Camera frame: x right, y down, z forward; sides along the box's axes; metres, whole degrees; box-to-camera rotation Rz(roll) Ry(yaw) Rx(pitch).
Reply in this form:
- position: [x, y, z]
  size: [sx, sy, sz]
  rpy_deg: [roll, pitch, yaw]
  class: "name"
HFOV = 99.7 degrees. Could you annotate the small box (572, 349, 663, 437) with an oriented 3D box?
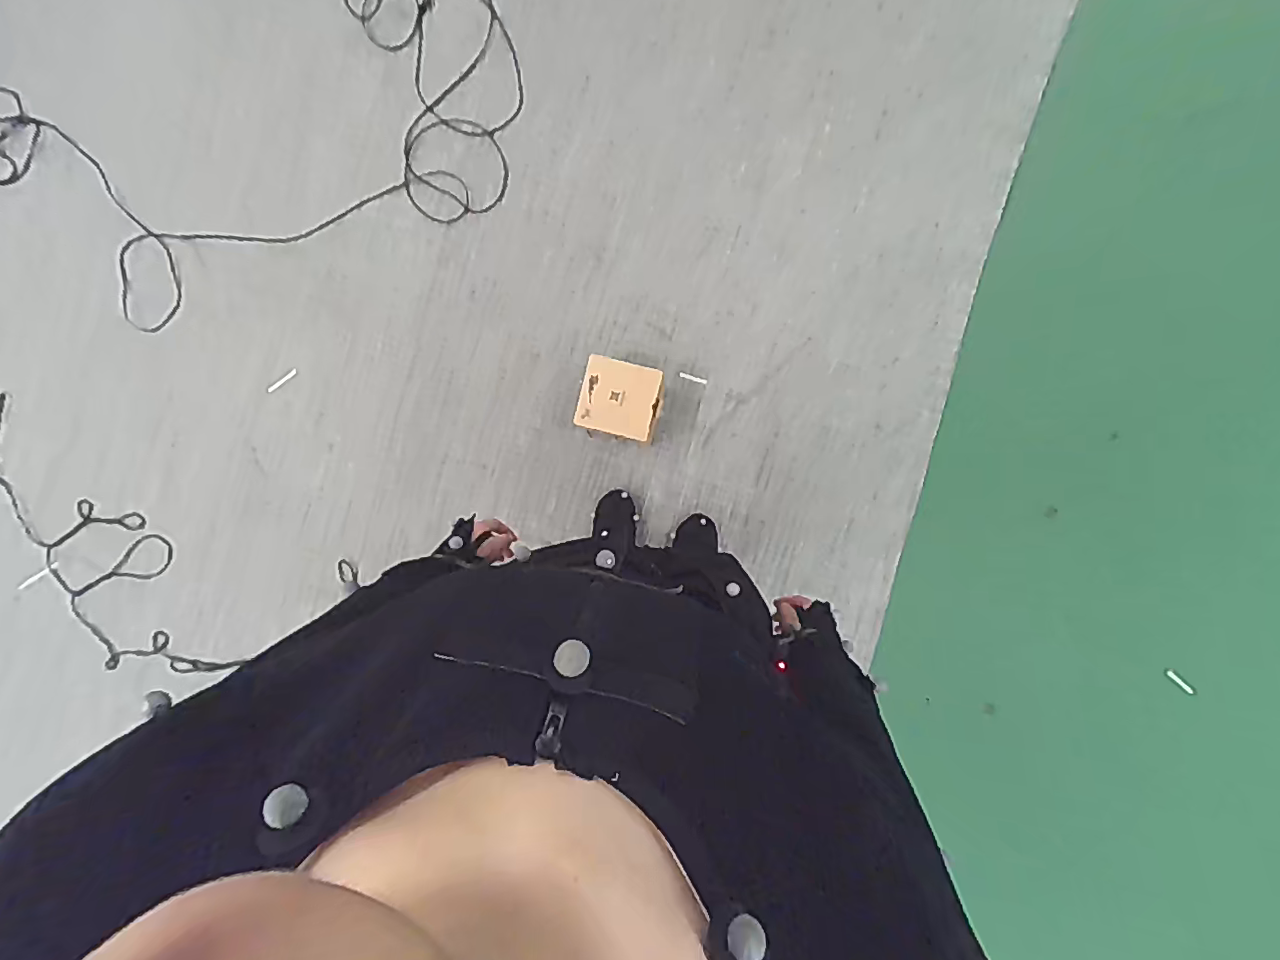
- position: [-0.046, -0.201, 1.294]
  size: [0.179, 0.176, 0.168]
  rpy_deg: [14, 93, 3]
  class: "small box"
